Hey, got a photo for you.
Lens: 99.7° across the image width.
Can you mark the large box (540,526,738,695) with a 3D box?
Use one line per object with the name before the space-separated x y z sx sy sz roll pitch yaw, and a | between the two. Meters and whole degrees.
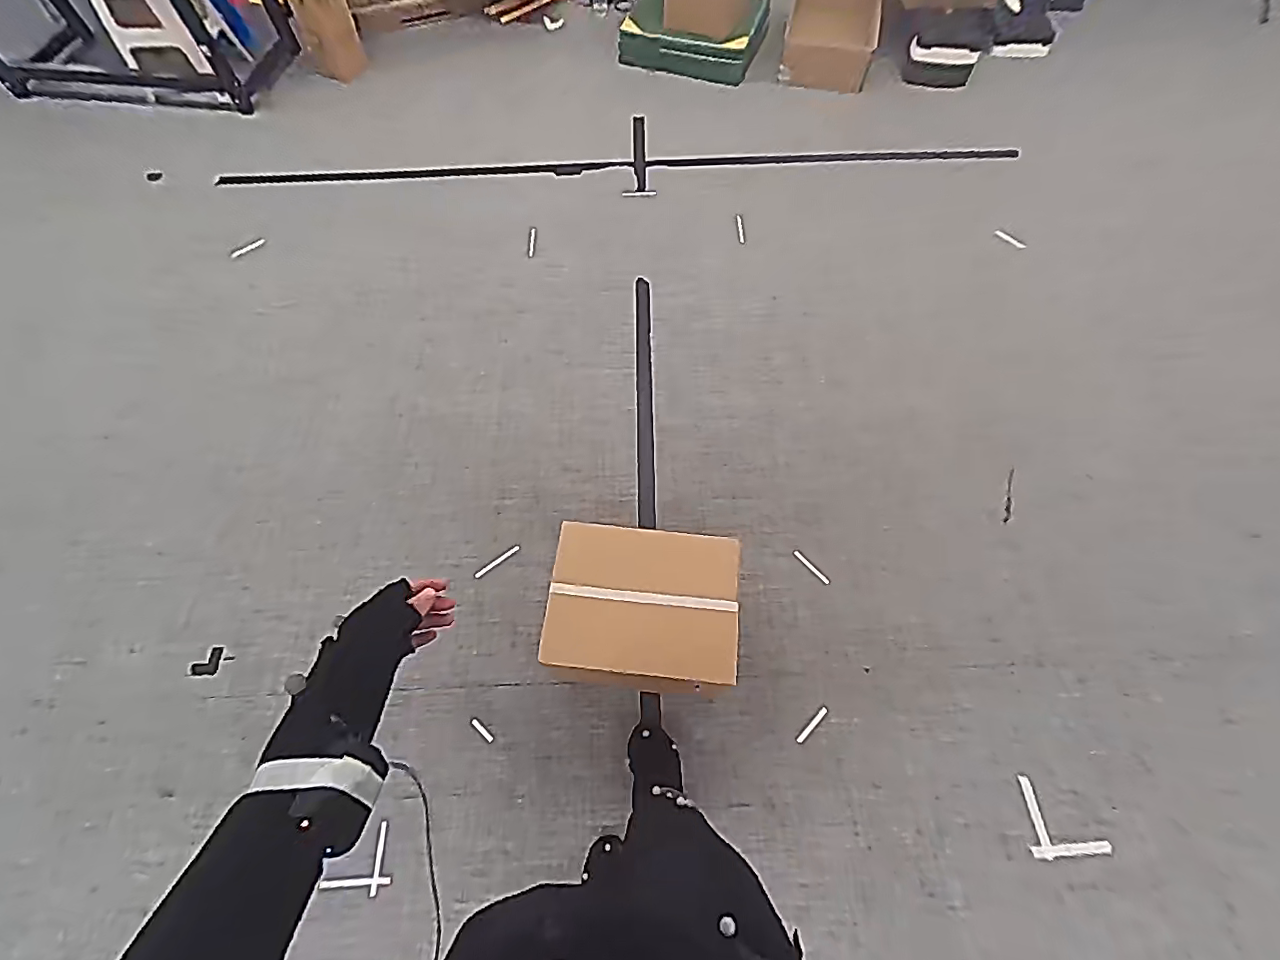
large box | 0.009 0.321 1.280 0.408 0.320 0.320 6 63 2
